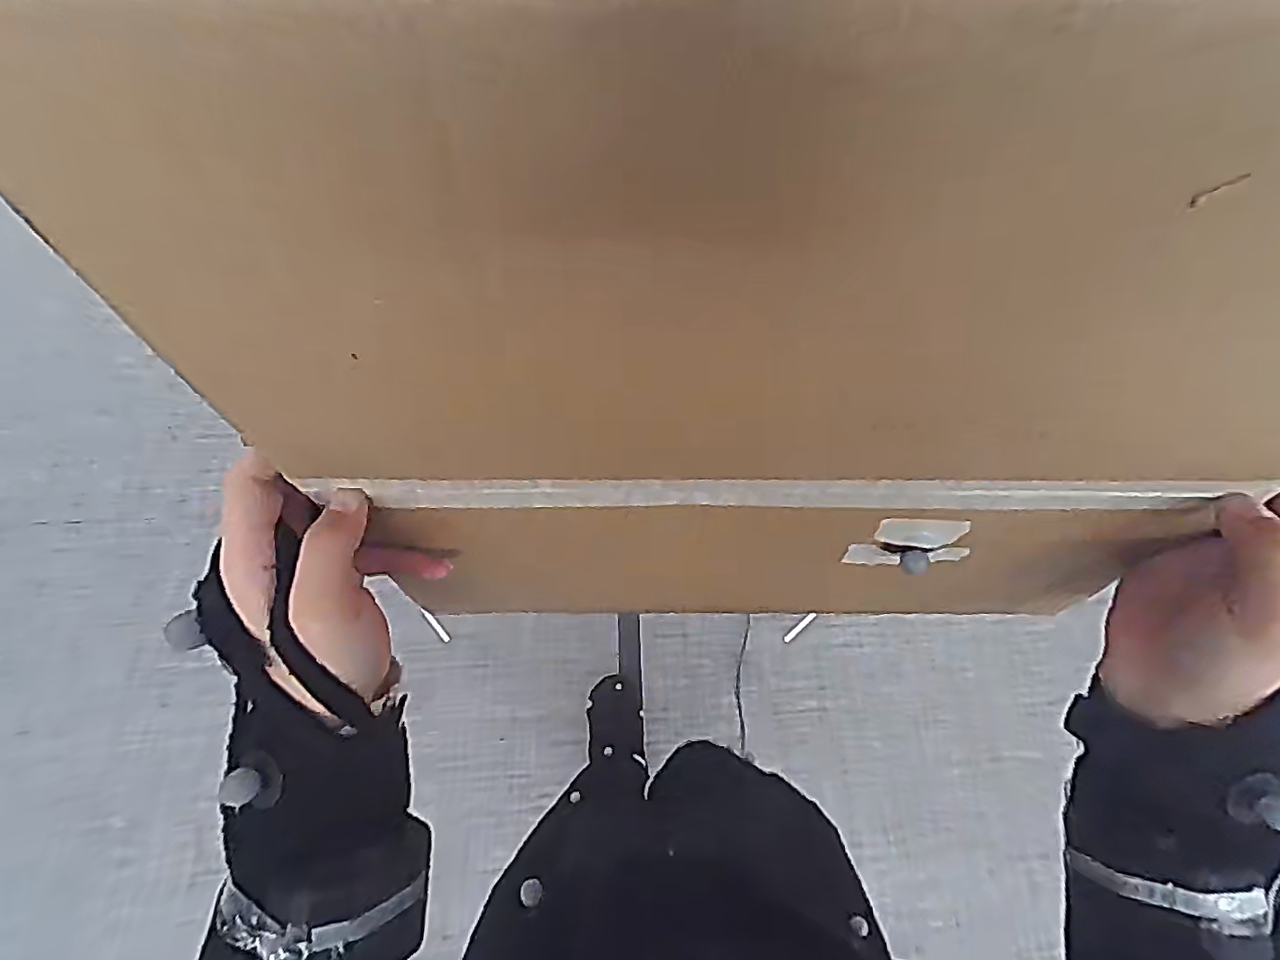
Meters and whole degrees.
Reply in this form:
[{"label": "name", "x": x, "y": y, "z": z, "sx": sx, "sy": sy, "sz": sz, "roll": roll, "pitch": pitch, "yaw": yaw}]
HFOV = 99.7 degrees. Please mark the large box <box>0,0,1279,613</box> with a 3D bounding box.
[{"label": "large box", "x": 0.055, "y": -0.125, "z": 0.315, "sx": 0.408, "sy": 0.320, "sz": 0.320, "roll": -1, "pitch": 58, "yaw": 0}]
